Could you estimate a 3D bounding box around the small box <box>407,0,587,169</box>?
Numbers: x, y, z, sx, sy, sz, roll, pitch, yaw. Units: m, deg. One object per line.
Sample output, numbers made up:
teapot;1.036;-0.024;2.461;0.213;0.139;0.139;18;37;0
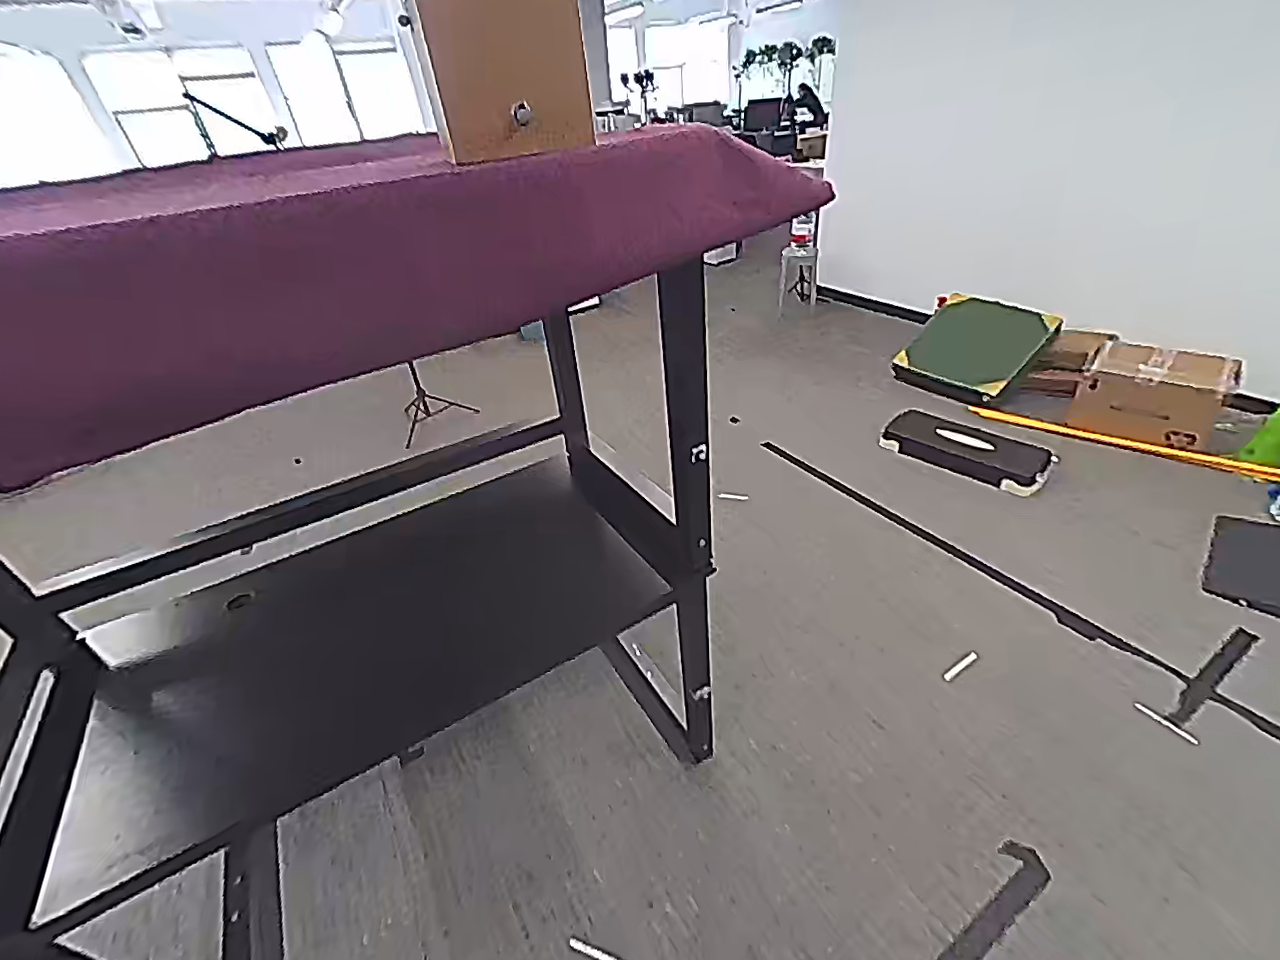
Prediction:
small box;-0.170;-0.495;0.667;0.179;0.176;0.168;-17;36;-15
